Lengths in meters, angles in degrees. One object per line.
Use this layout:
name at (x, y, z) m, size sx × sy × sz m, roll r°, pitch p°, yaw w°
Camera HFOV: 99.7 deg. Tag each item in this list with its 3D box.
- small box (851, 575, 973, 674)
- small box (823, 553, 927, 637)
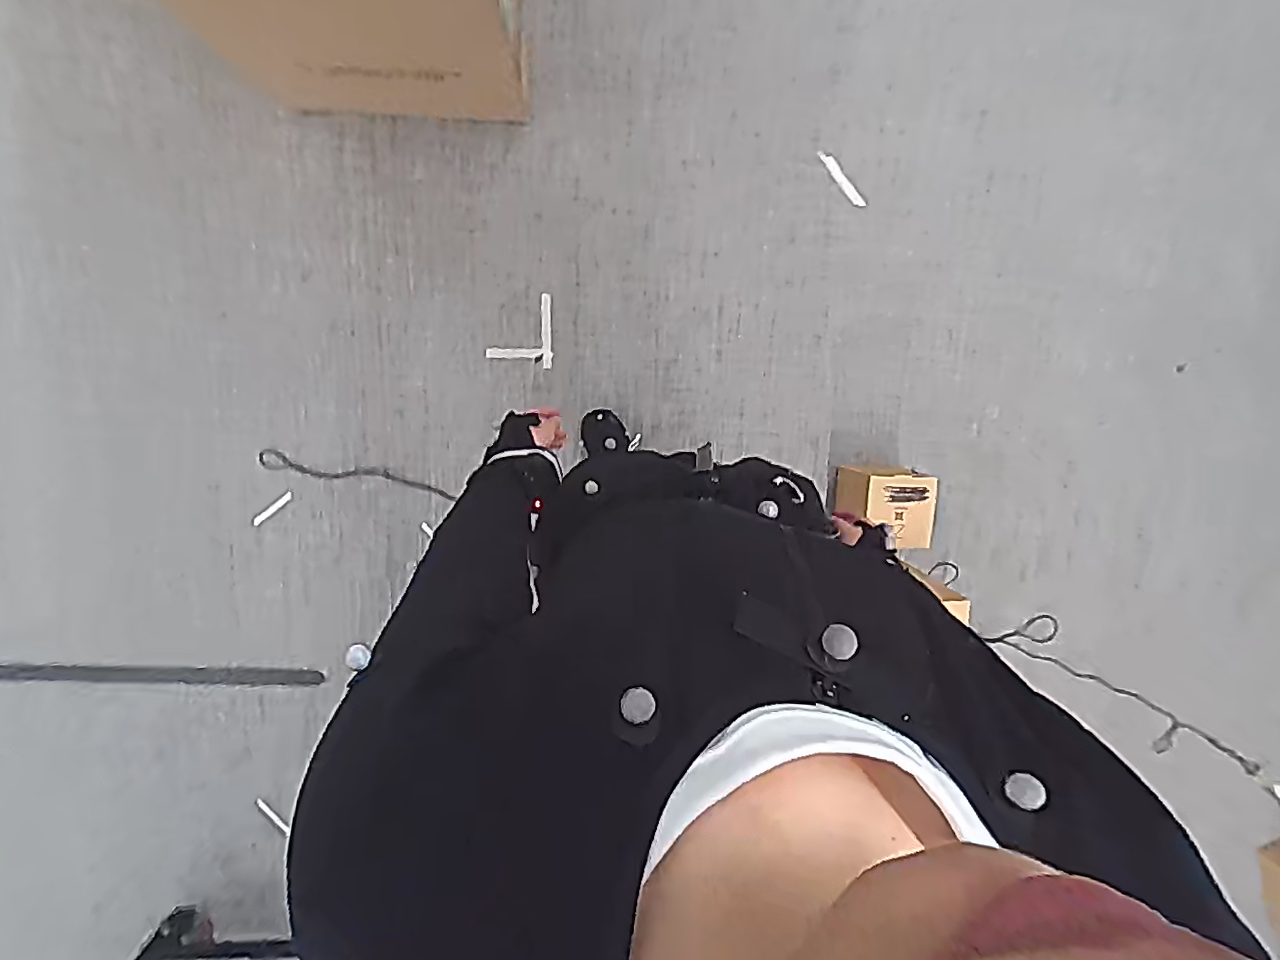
small box at (0.599, 0.315, 1.206) m, size 0.179 × 0.176 × 0.168 m, roll 1°, pitch 99°, yaw -4°
small box at (0.588, 0.287, 1.368) m, size 0.179 × 0.176 × 0.168 m, roll 2°, pitch 99°, yaw -4°
